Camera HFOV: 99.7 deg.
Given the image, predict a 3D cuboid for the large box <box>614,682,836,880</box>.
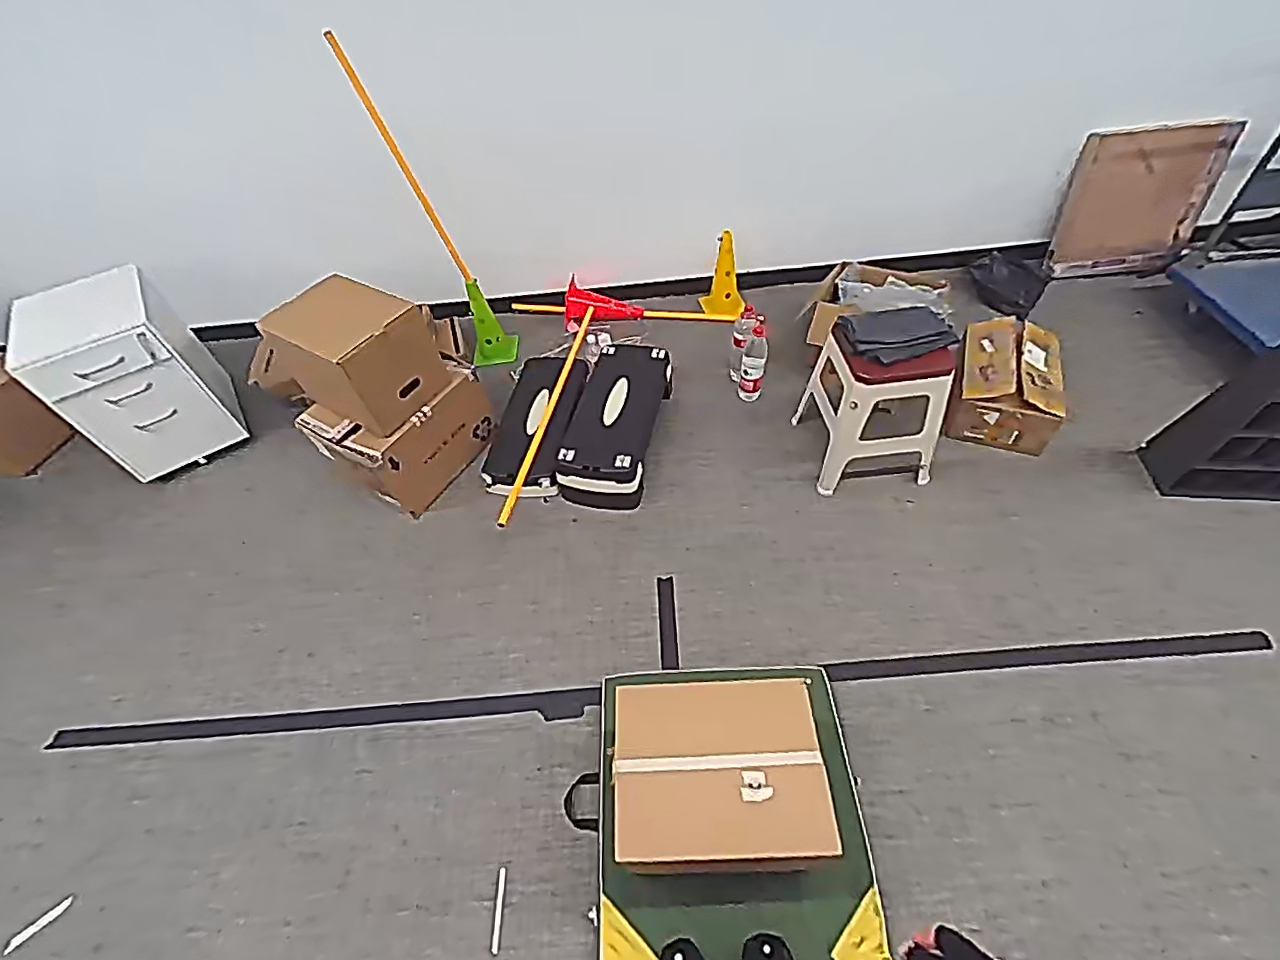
[{"bbox_3d":[0.156,0.659,1.178,0.408,0.320,0.320,-3,50,1],"label":"large box"}]
